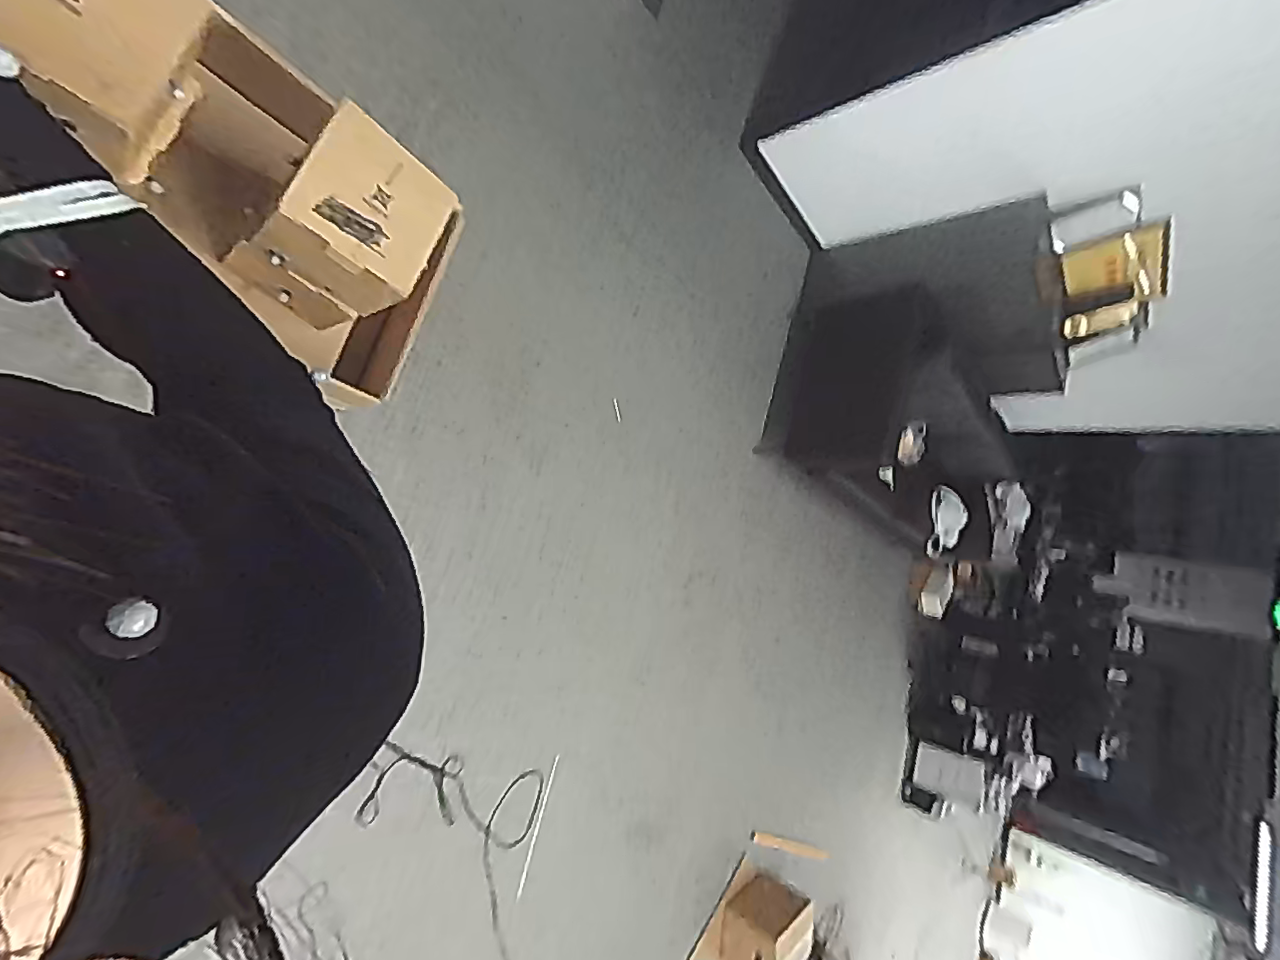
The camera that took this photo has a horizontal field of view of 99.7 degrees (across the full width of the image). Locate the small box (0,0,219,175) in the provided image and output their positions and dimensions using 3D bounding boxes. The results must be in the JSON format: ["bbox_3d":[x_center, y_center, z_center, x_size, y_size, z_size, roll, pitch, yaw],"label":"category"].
[{"bbox_3d":[-0.572,-0.455,0.550,0.168,0.176,0.179,30,72,-43],"label":"small box"}]

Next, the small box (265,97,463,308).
[{"bbox_3d":[-0.384,-0.363,0.747,0.168,0.176,0.179,33,70,-42],"label":"small box"}]
